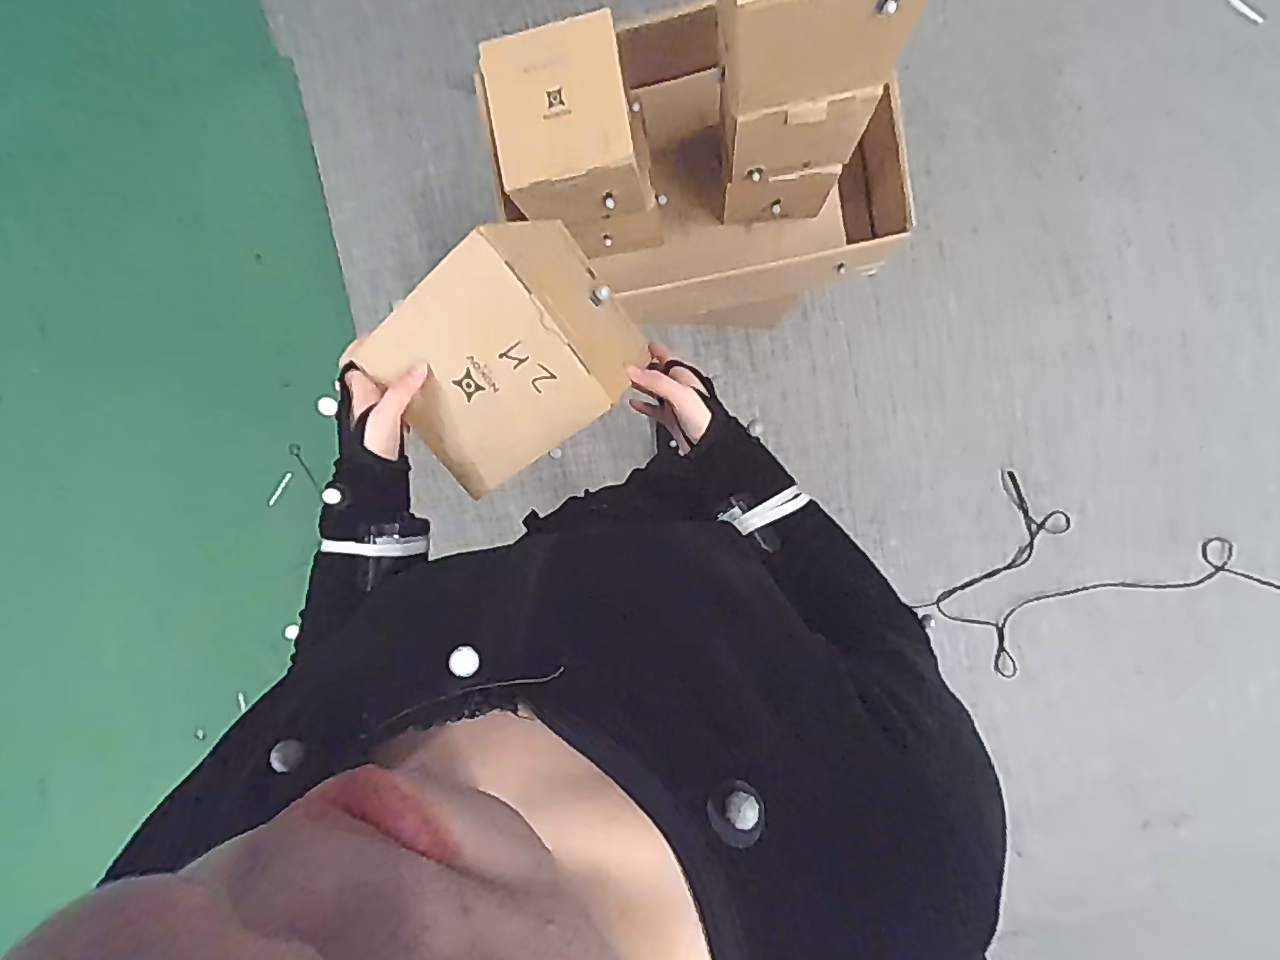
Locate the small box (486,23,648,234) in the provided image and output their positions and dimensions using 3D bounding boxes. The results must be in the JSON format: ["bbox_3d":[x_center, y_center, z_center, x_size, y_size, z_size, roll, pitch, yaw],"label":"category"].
[{"bbox_3d":[-0.086,-0.449,0.730,0.168,0.176,0.179,-8,94,7],"label":"small box"}]

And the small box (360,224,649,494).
[{"bbox_3d":[-0.114,-0.121,0.521,0.179,0.176,0.168,-30,107,25],"label":"small box"}]

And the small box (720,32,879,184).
[{"bbox_3d":[0.193,-0.505,0.693,0.168,0.176,0.179,-6,94,7],"label":"small box"}]

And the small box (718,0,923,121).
[{"bbox_3d":[0.169,-0.492,0.532,0.179,0.176,0.168,-7,94,7],"label":"small box"}]
